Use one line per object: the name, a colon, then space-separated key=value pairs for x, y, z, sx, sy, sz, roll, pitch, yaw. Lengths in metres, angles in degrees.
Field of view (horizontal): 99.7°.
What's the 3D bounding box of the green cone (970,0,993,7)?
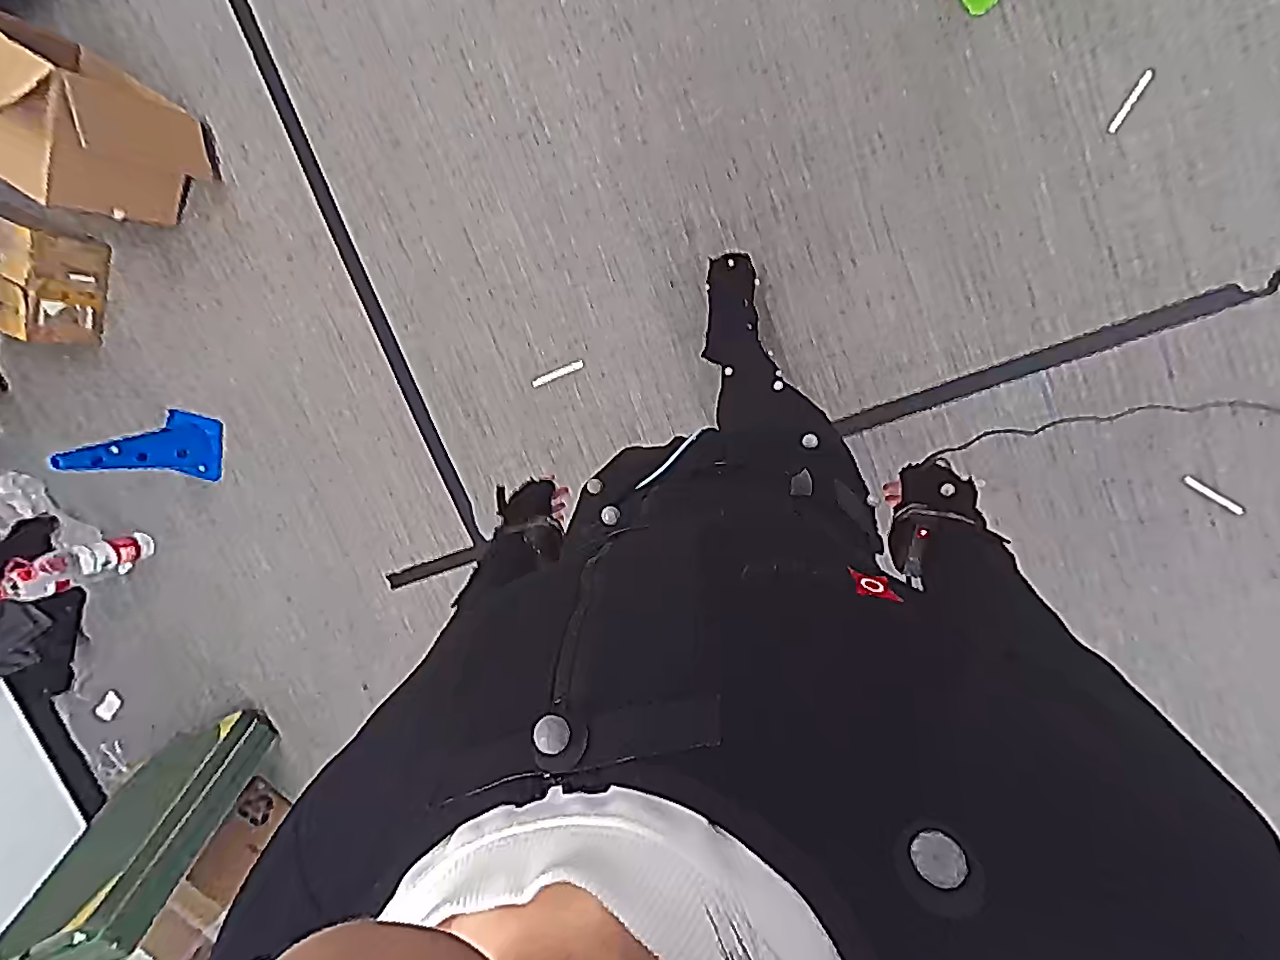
green cone: x=0.684 y=-1.063 z=0.916 sx=0.202 sy=0.368 sz=0.200 roll=-36 pitch=93 yaw=14
